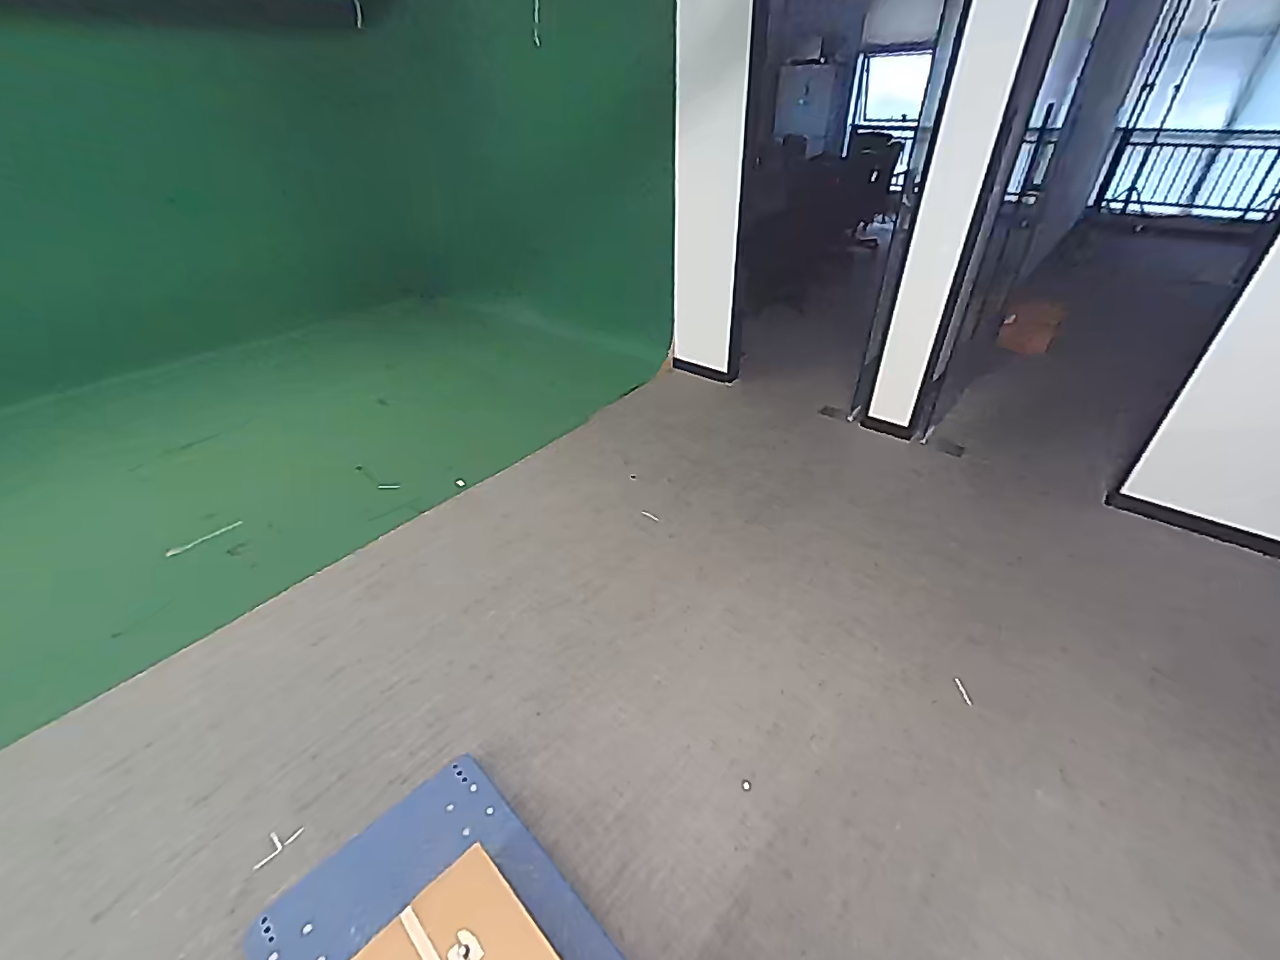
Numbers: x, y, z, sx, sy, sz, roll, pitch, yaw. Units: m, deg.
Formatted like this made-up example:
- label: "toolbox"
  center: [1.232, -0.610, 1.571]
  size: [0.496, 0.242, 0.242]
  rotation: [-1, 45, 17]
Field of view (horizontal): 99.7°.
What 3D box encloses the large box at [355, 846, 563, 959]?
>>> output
- label: "large box"
  center: [-0.282, 0.993, 0.969]
  size: [0.408, 0.320, 0.320]
  rotation: [28, 45, 36]
